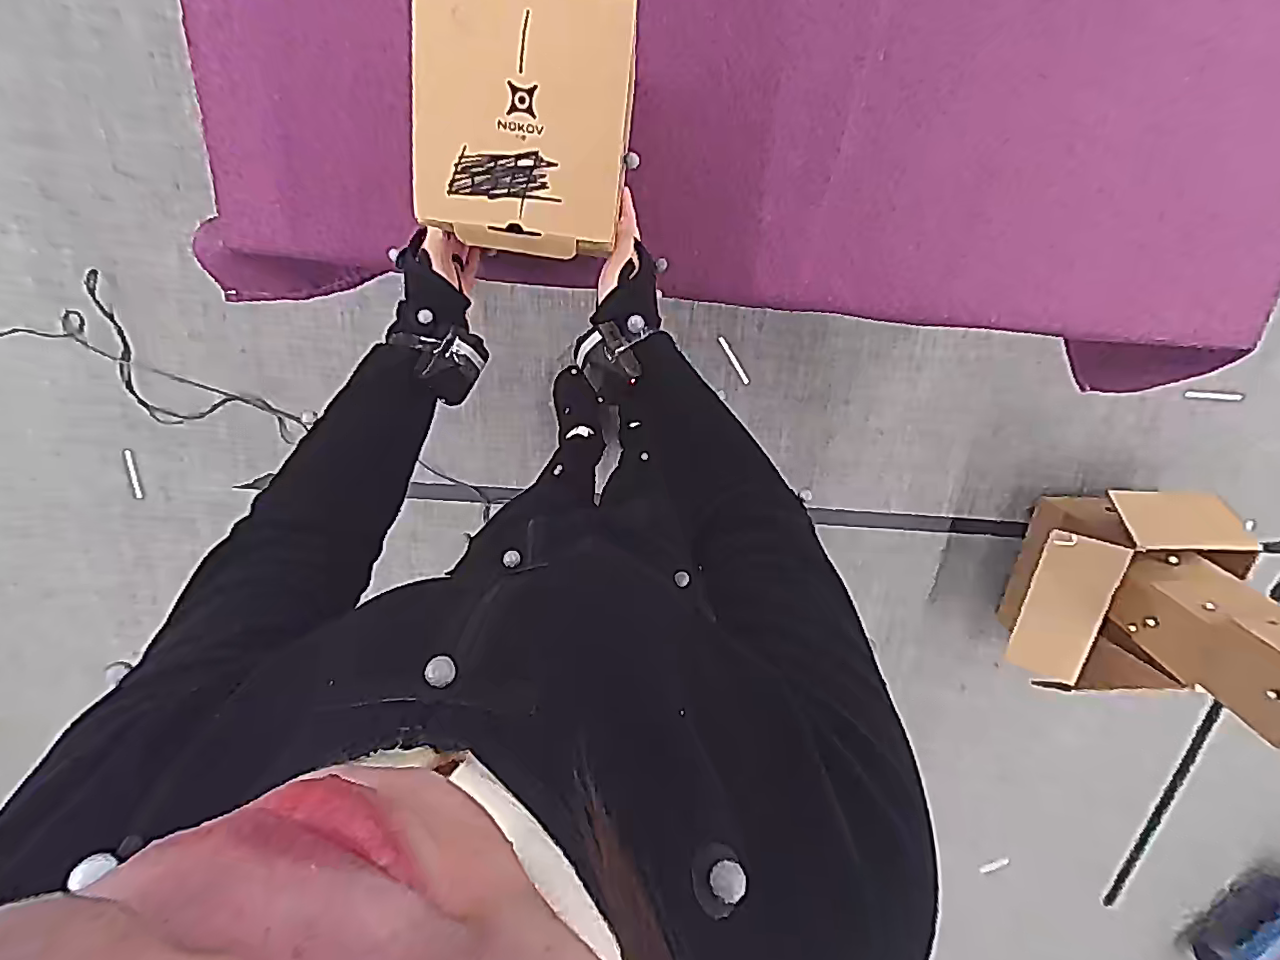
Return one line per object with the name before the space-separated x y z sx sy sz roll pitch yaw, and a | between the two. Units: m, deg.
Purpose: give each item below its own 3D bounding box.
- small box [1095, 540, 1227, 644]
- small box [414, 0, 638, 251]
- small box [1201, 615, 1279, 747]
small box | 1.257 0.263 1.320 0.168 0.176 0.179 -15 113 9
small box | -0.093 -0.316 0.494 0.168 0.176 0.179 6 108 -4
small box | 1.224 0.367 1.008 0.168 0.176 0.179 -2 114 4
